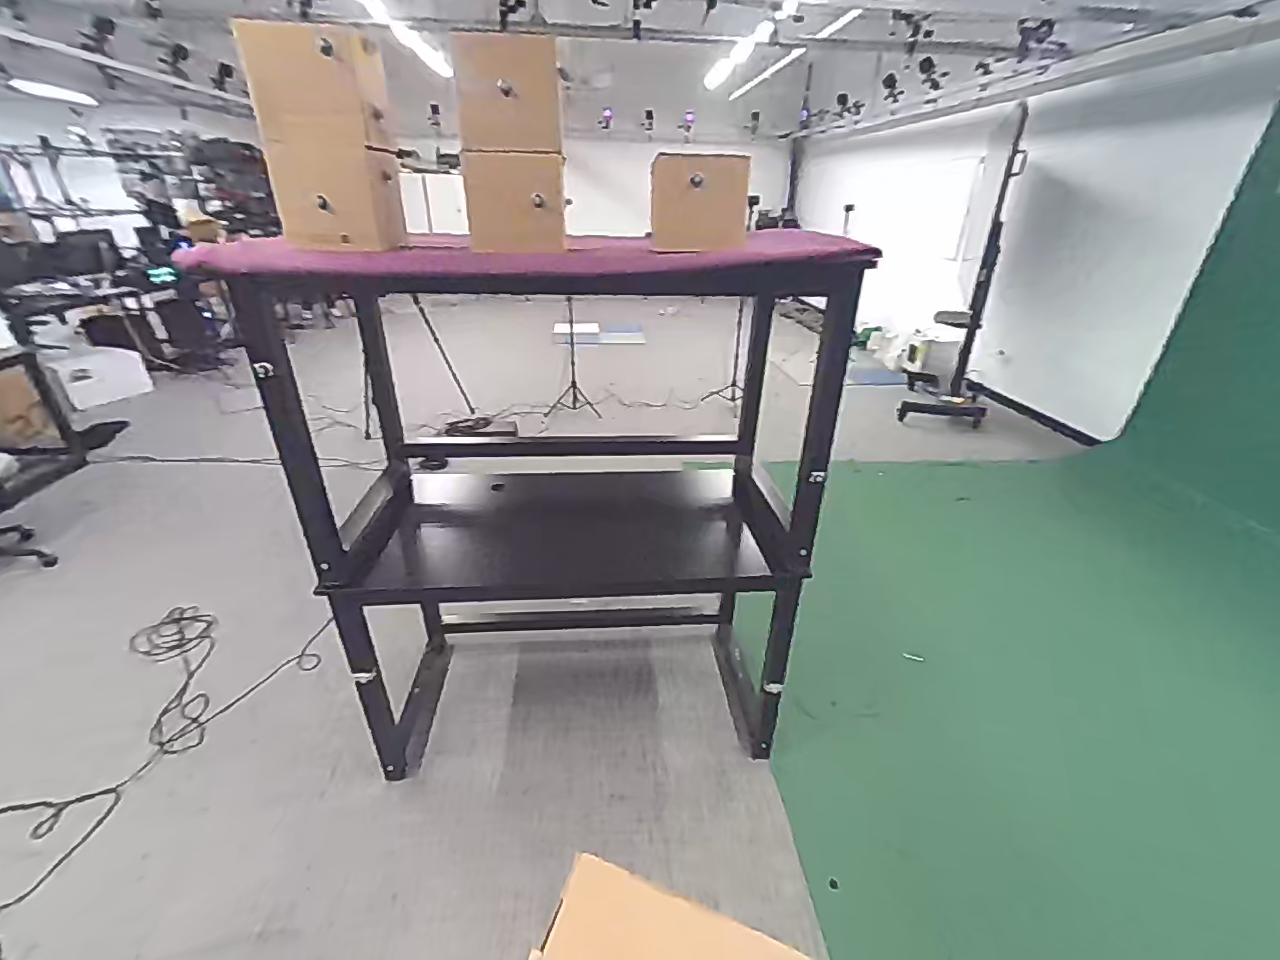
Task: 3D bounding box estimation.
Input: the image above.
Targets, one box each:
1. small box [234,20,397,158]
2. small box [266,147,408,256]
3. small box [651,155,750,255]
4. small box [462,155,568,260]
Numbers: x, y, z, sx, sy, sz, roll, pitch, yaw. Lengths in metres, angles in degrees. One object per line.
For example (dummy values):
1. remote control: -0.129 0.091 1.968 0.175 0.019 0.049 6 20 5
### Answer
1. small box: -0.545 -0.663 0.938 0.179 0.176 0.168 -1 29 -6
2. small box: -0.550 -0.519 1.013 0.168 0.176 0.179 0 28 -6
3. small box: 0.115 -0.547 1.092 0.179 0.176 0.168 -1 25 -3
4. small box: -0.231 -0.526 1.047 0.179 0.176 0.168 -3 27 -5
